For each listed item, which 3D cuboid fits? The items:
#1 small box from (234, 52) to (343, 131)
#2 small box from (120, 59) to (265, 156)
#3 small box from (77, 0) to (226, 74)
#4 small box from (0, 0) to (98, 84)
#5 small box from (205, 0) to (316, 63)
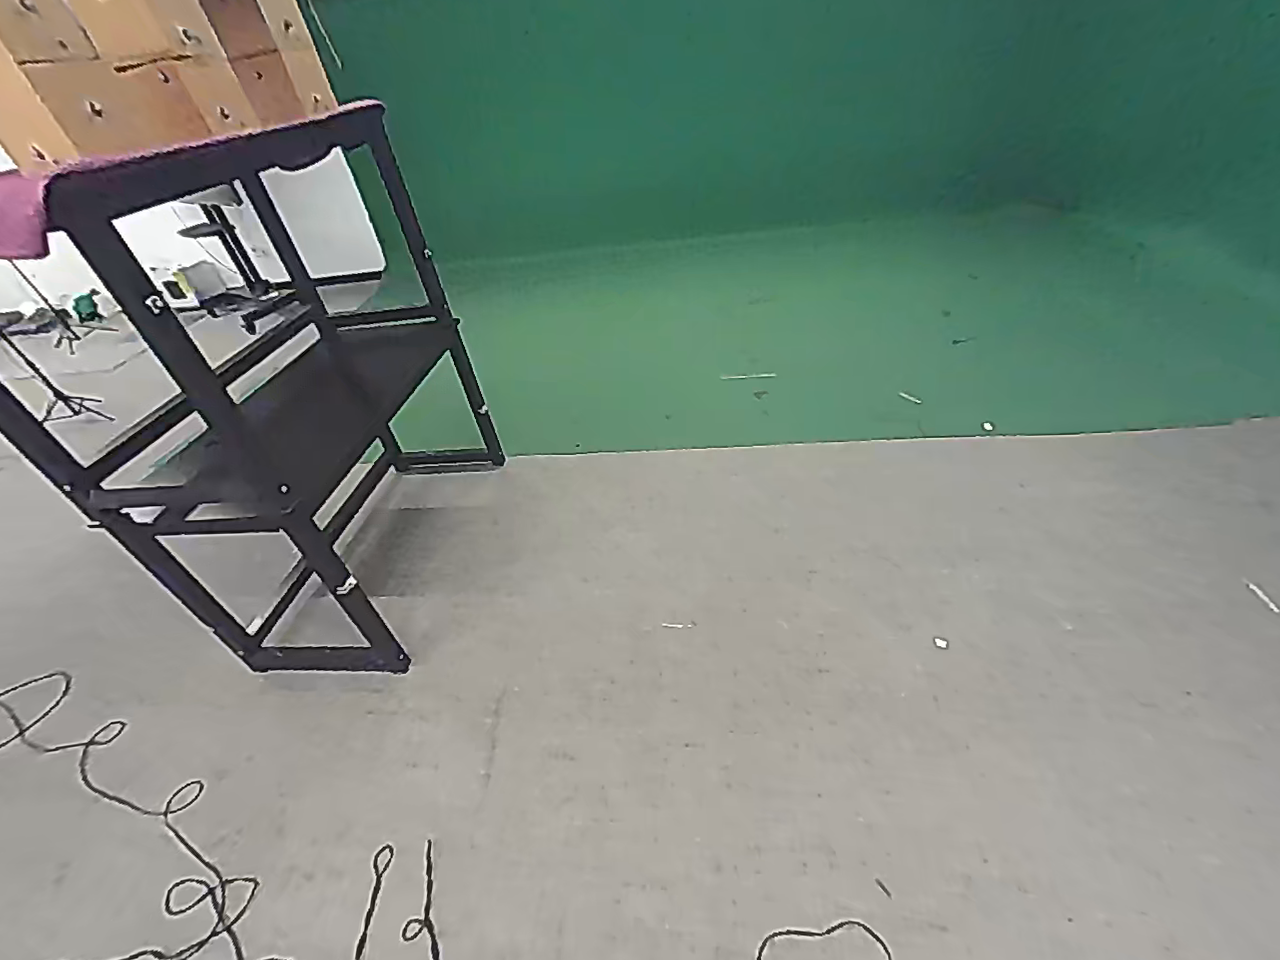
[{"bbox_3d":[-1.044,-1.163,1.622,0.179,0.176,0.168,1,41,12],"label":"small box"},{"bbox_3d":[-1.088,-0.914,1.330,0.179,0.176,0.168,-1,40,13],"label":"small box"},{"bbox_3d":[-1.109,-1.035,1.224,0.179,0.176,0.168,-3,41,8],"label":"small box"},{"bbox_3d":[-1.146,-0.816,0.956,0.179,0.176,0.168,-3,39,10],"label":"small box"},{"bbox_3d":[-1.068,-1.289,1.519,0.179,0.176,0.168,1,41,13],"label":"small box"}]
